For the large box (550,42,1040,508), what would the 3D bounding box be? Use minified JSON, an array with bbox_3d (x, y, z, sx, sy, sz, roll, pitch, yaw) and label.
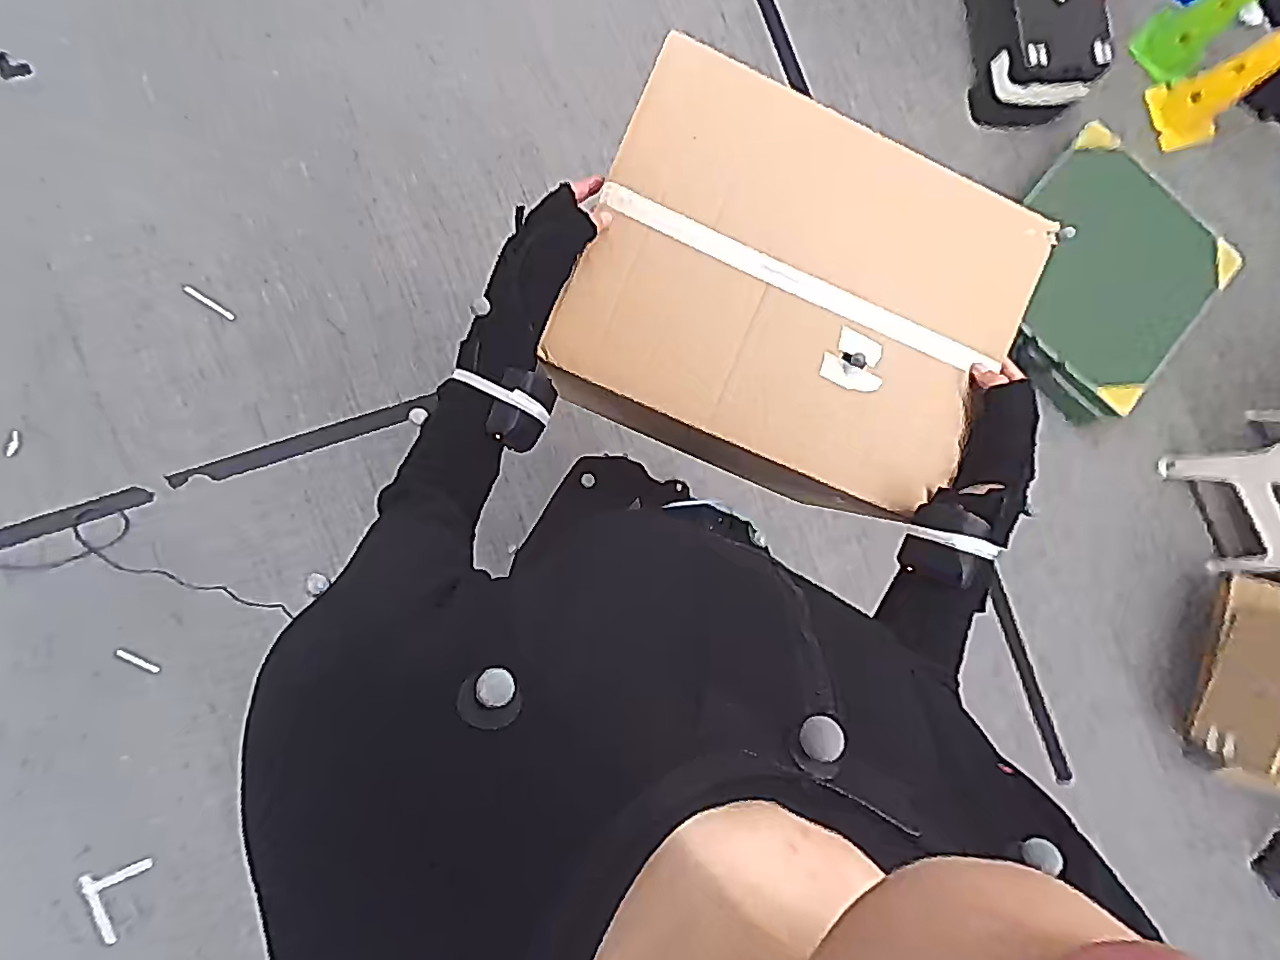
[{"bbox_3d":[0.138,-0.191,0.655,0.408,0.320,0.320,23,91,-6],"label":"large box"}]
